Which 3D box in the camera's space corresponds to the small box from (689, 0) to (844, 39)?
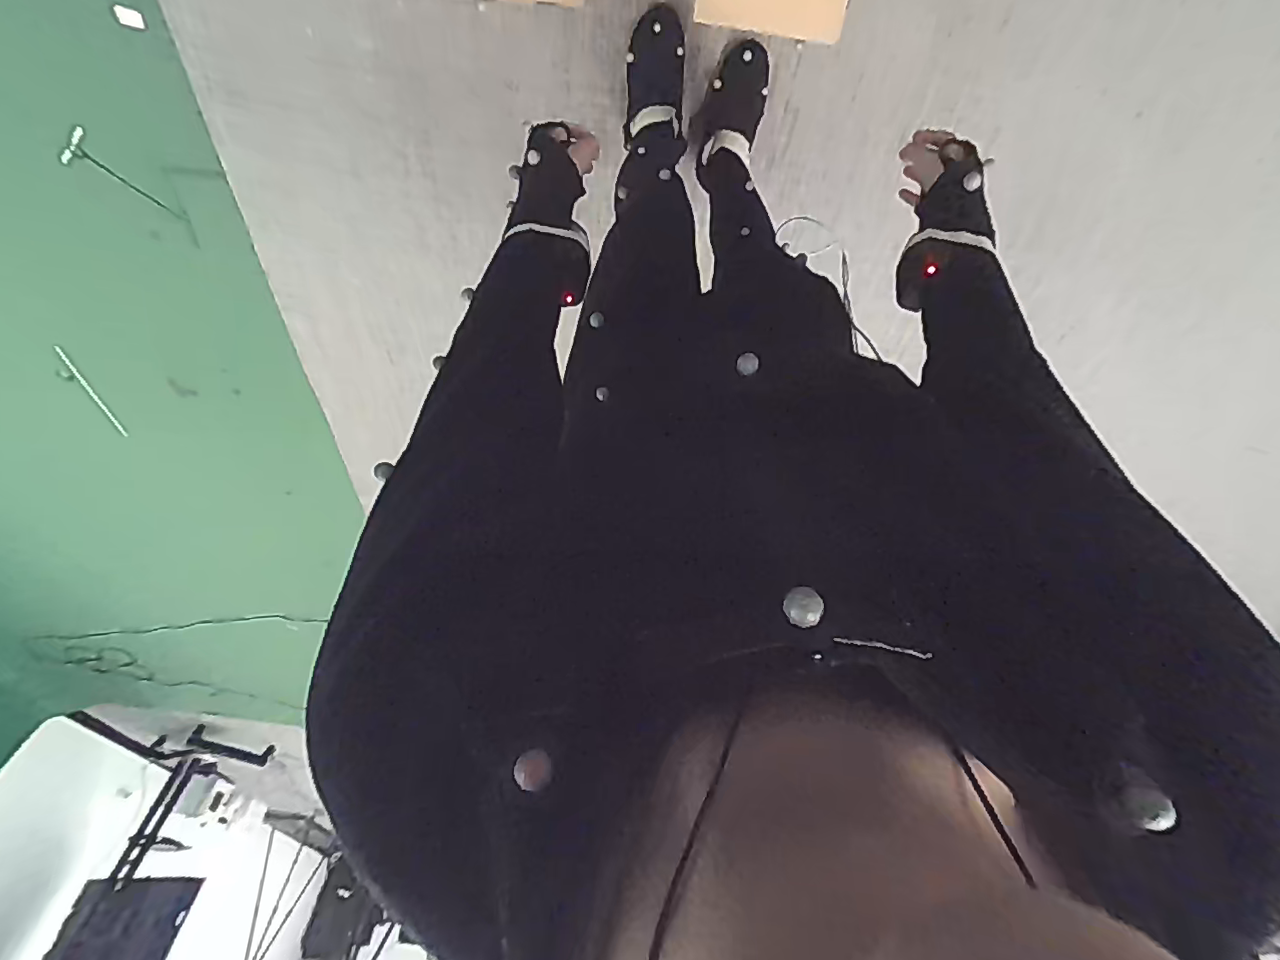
[{"bbox_3d":[0.158,-0.645,0.637,0.179,0.176,0.168,7,135,-2],"label":"small box"}]
